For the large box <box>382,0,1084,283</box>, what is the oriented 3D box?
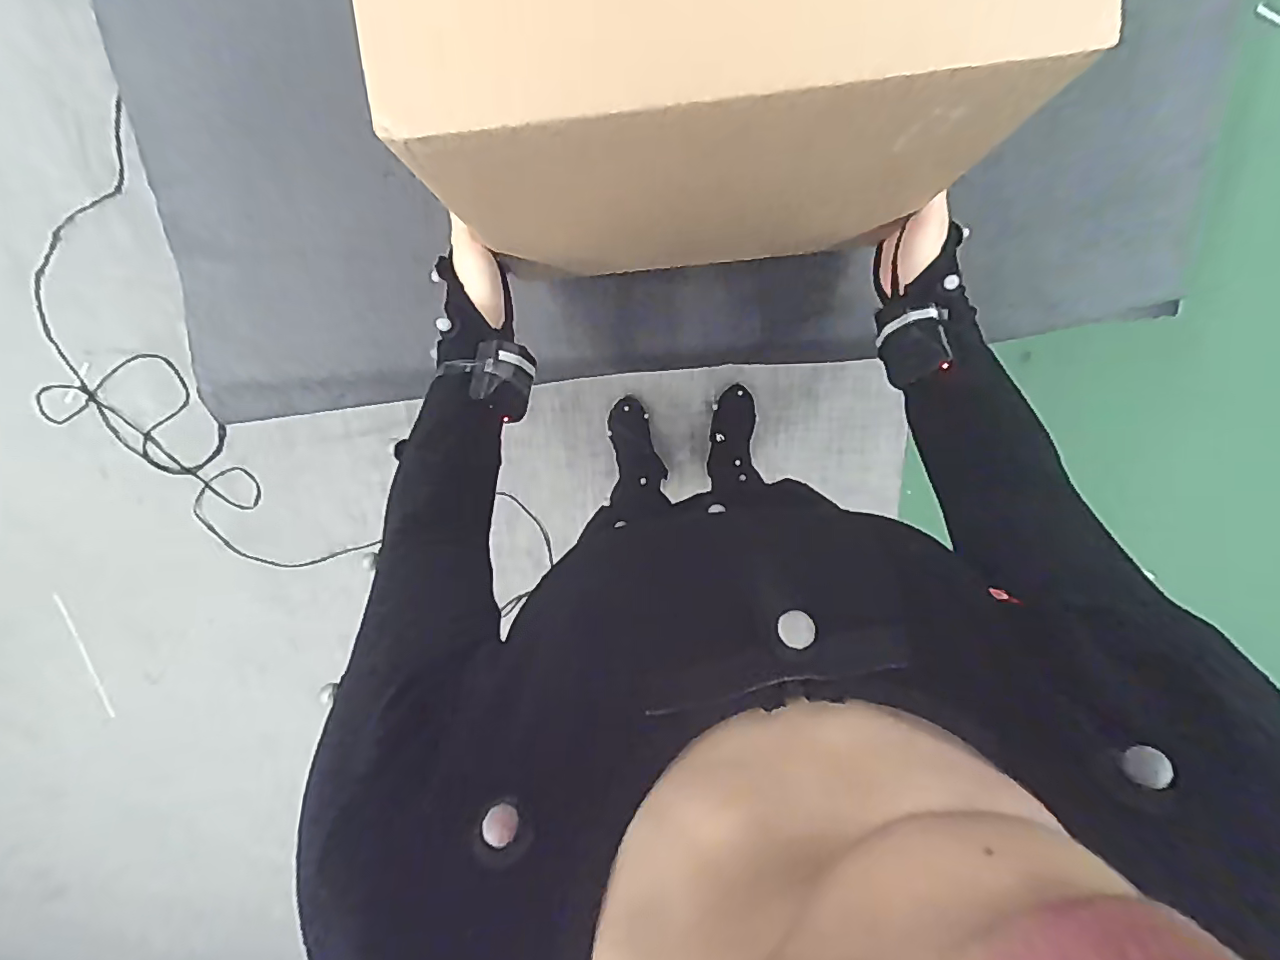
[{"bbox_3d":[0.042,-0.382,0.449,0.408,0.320,0.320,-6,96,3],"label":"large box"}]
